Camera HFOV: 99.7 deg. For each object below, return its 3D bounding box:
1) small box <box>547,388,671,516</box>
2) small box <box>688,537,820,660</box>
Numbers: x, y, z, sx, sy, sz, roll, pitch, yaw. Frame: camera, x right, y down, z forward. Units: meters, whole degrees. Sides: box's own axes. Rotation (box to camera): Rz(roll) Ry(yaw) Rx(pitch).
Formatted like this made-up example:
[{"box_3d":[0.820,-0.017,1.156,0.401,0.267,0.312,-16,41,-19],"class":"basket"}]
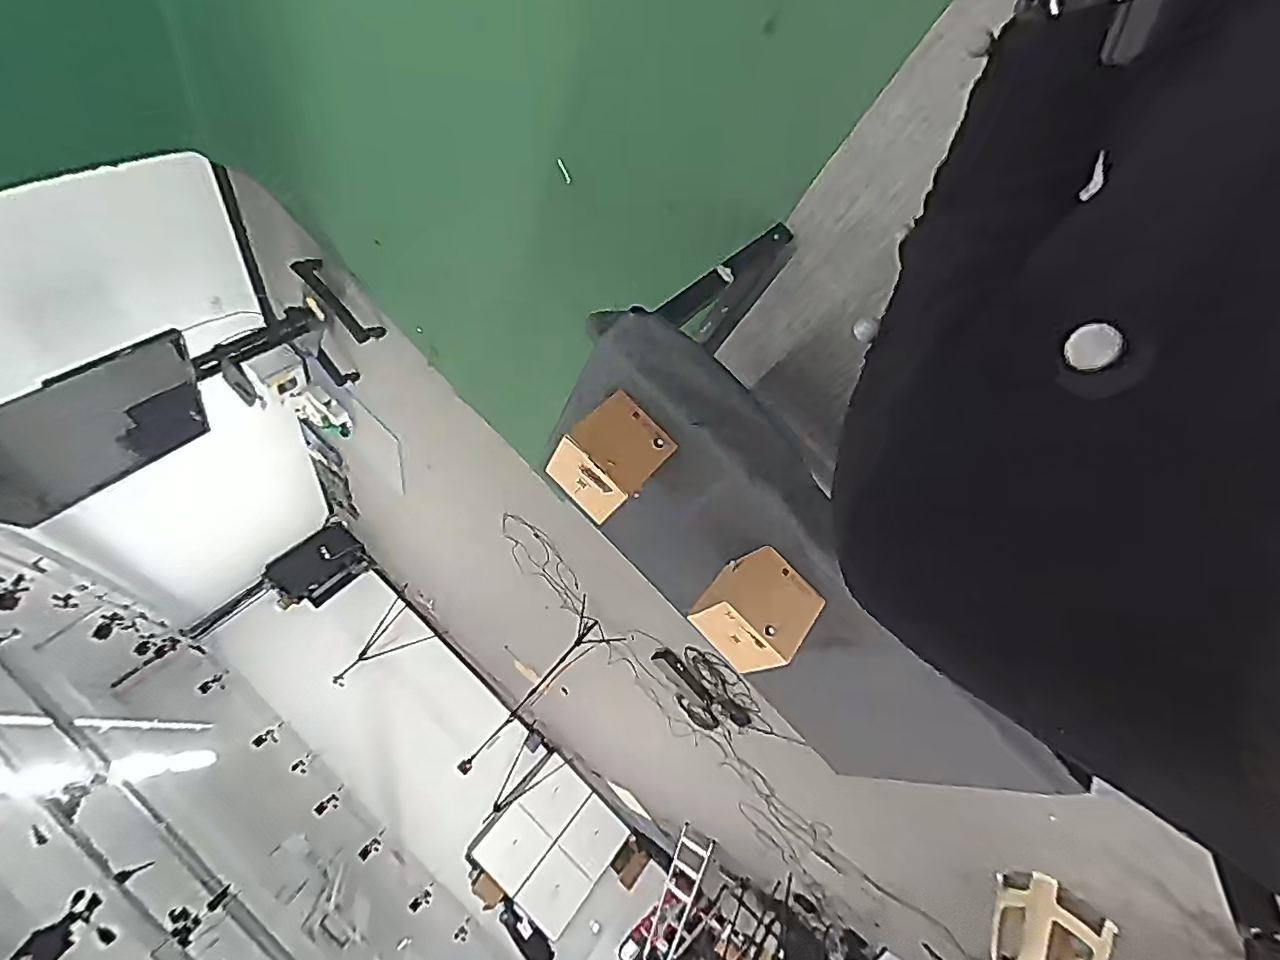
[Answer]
[{"box_3d":[-0.061,-0.058,1.115,0.168,0.176,0.179,45,150,0],"class":"small box"},{"box_3d":[0.238,0.247,1.123,0.168,0.176,0.179,44,149,1],"class":"small box"}]
